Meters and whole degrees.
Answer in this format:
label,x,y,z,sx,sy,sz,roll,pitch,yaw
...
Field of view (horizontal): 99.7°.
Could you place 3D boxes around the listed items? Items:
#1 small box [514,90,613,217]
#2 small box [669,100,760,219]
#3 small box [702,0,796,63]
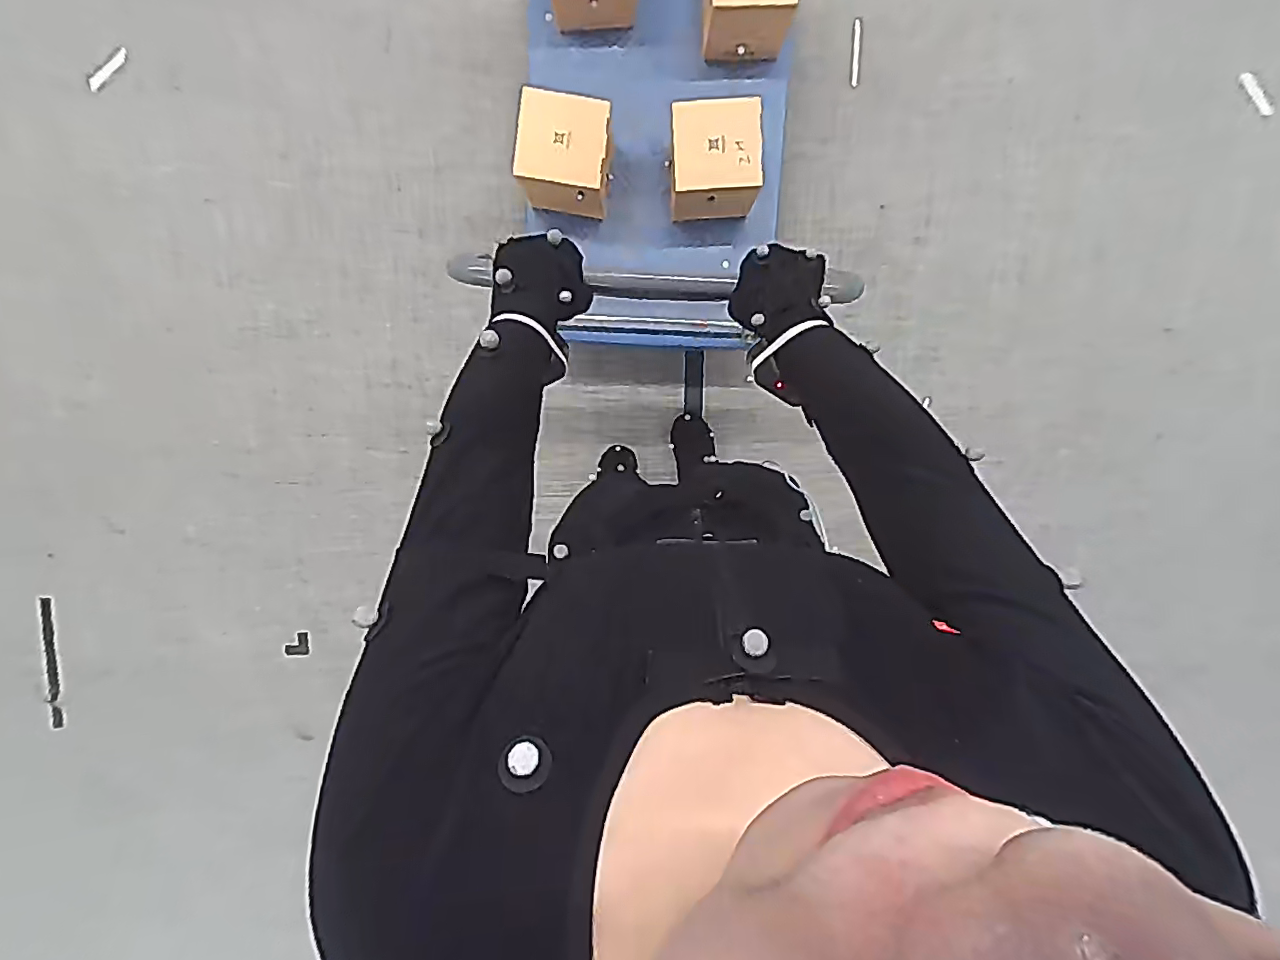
label,x,y,z,sx,sy,sz,roll,pitch,yaw
small box,-0.155,-0.679,1.144,0.179,0.176,0.168,8,97,-2
small box,0.150,-0.667,1.144,0.179,0.176,0.168,-3,98,0
small box,0.216,-0.996,1.099,0.168,0.176,0.179,-1,99,0
